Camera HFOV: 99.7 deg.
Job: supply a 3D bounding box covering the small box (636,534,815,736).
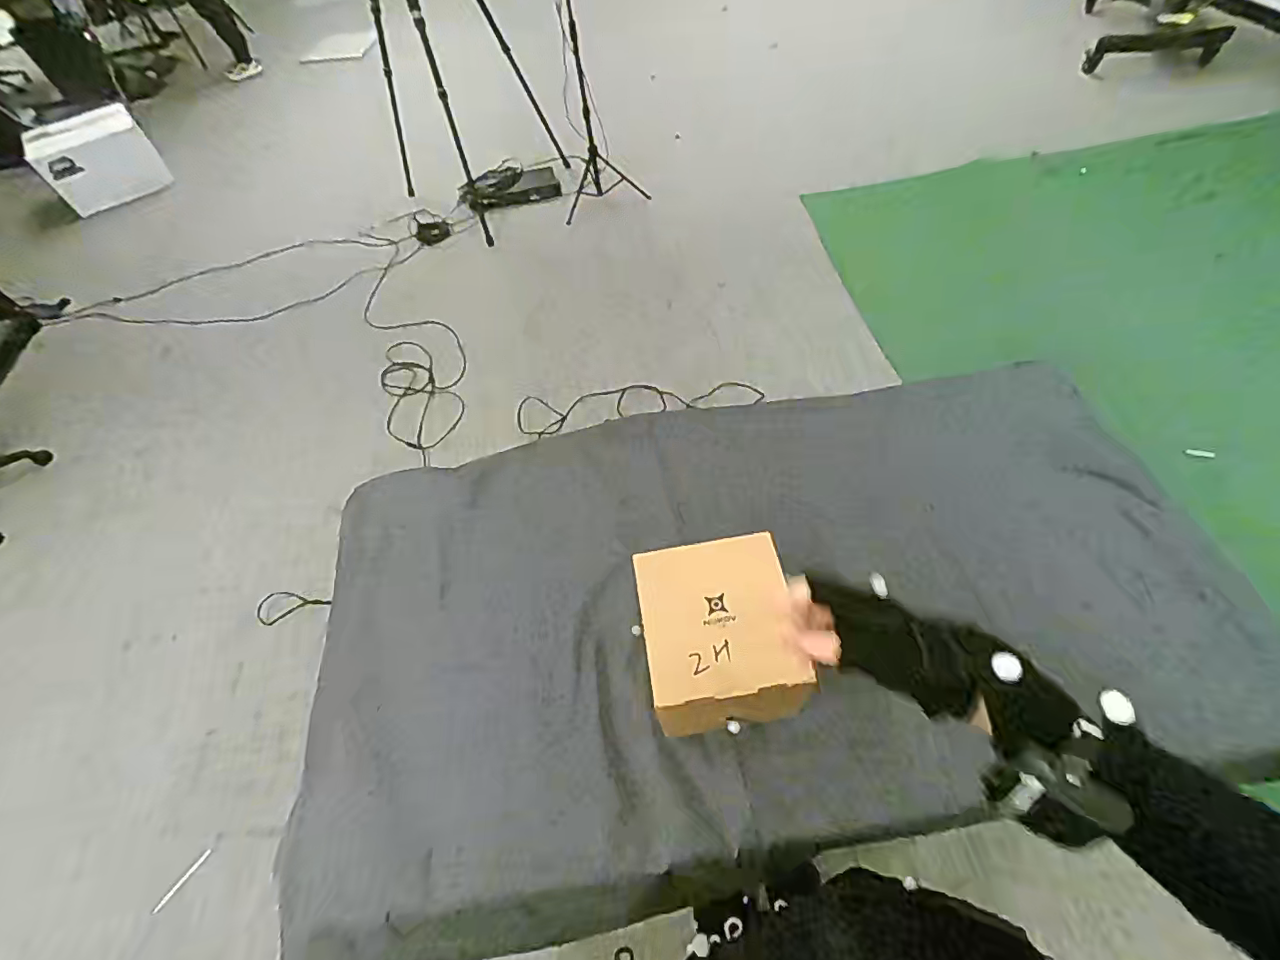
[{"bbox_3d":[0.092,0.191,0.651,0.168,0.176,0.179,-10,55,1],"label":"small box"}]
